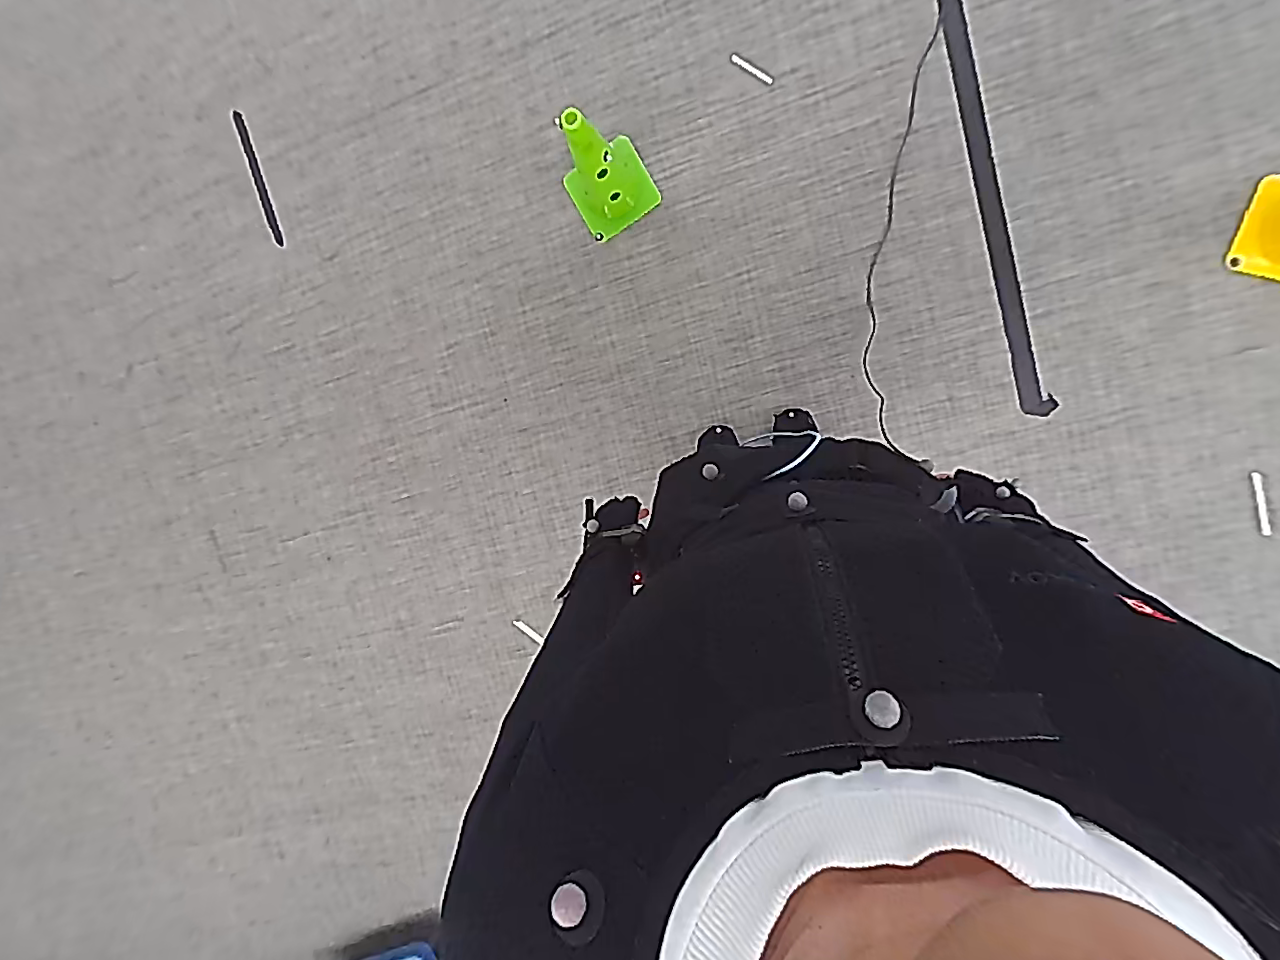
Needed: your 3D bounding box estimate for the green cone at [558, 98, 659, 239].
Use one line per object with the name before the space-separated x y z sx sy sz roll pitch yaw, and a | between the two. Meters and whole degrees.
green cone | -0.104 -0.732 1.218 0.200 0.368 0.202 -31 90 11
